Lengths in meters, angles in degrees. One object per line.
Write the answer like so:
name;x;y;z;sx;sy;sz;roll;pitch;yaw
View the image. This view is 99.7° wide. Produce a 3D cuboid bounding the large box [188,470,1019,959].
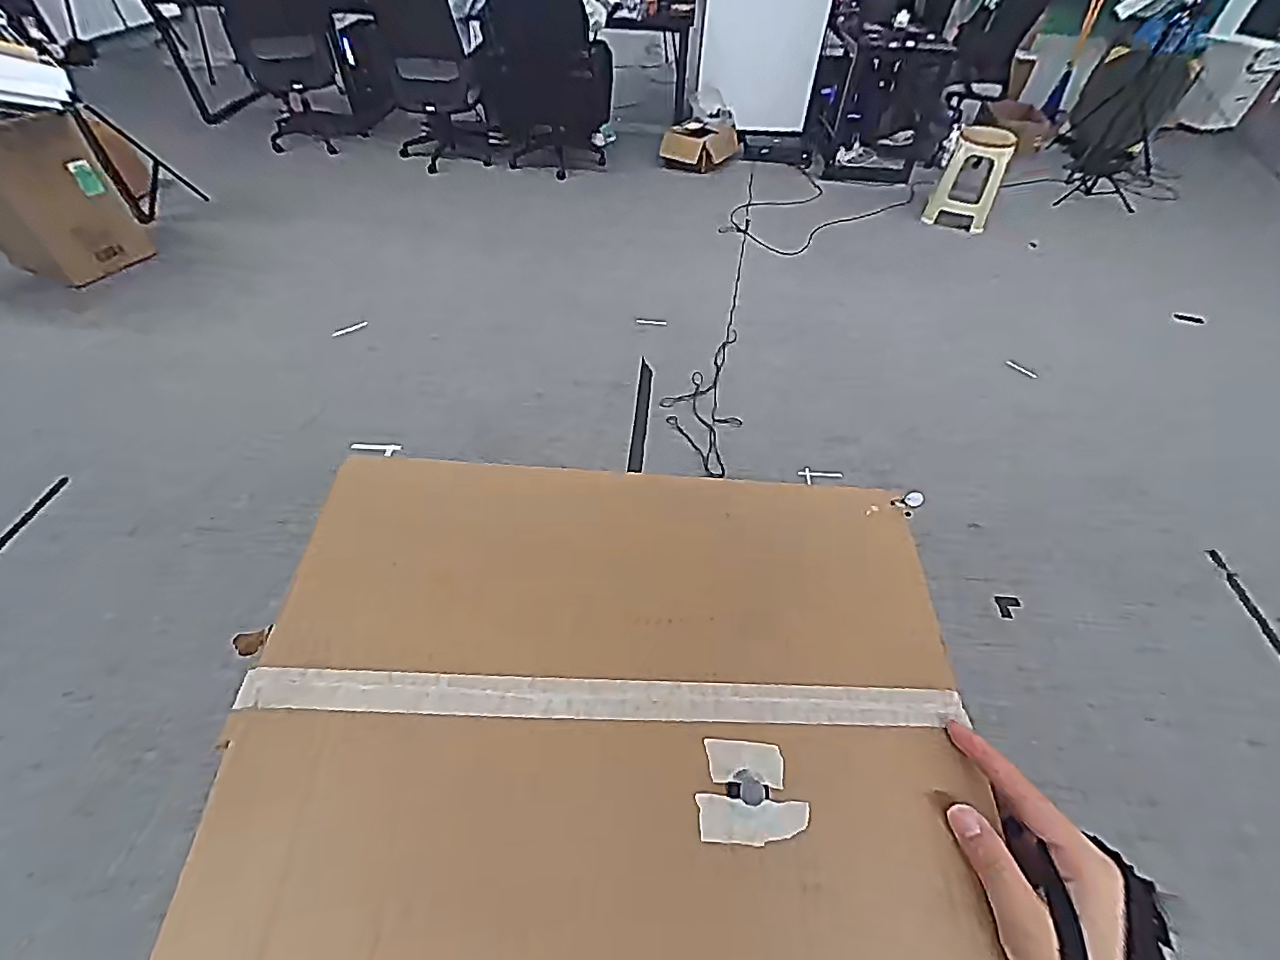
large box;-0.022;0.212;0.445;0.408;0.320;0.320;4;57;-5
